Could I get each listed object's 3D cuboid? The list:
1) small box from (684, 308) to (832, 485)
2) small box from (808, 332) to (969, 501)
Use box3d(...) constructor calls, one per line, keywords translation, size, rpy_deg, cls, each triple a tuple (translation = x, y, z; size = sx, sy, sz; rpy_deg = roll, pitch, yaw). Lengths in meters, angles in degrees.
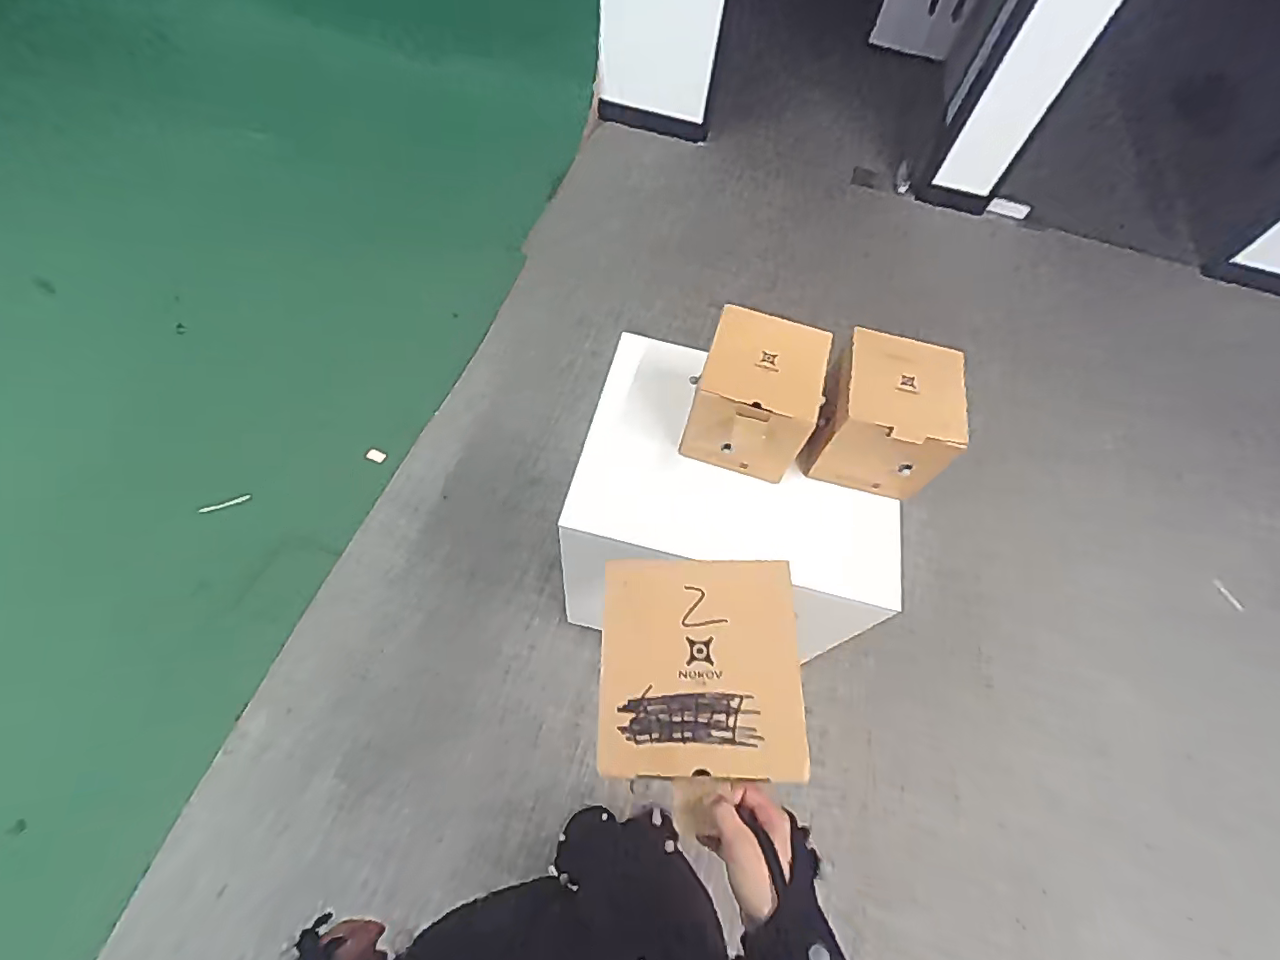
box3d(translation=(0.173, -0.122, 0.824), size=(0.168, 0.176, 0.179), rpy_deg=(17, 62, 4), cls="small box")
box3d(translation=(0.368, -0.089, 0.825), size=(0.168, 0.176, 0.179), rpy_deg=(14, 60, 1), cls="small box")
